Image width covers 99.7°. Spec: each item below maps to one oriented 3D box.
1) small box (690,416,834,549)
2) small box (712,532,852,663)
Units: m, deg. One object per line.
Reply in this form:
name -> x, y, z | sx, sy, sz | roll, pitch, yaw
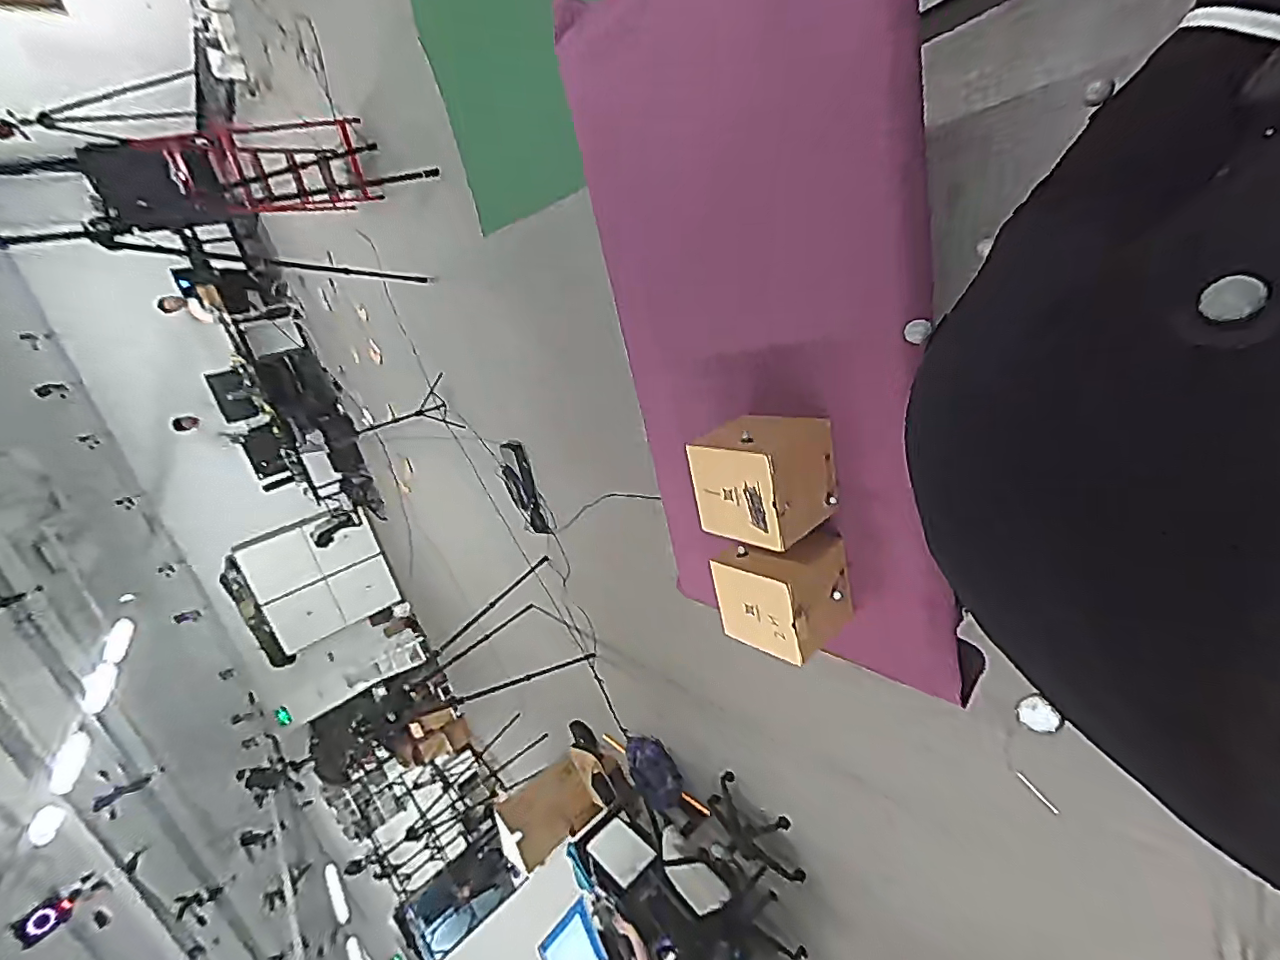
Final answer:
small box -> 0.215, -0.007, 0.925 | 0.179, 0.176, 0.168 | 11, 120, 50
small box -> 0.263, 0.197, 0.994 | 0.179, 0.176, 0.168 | 9, 119, 50
